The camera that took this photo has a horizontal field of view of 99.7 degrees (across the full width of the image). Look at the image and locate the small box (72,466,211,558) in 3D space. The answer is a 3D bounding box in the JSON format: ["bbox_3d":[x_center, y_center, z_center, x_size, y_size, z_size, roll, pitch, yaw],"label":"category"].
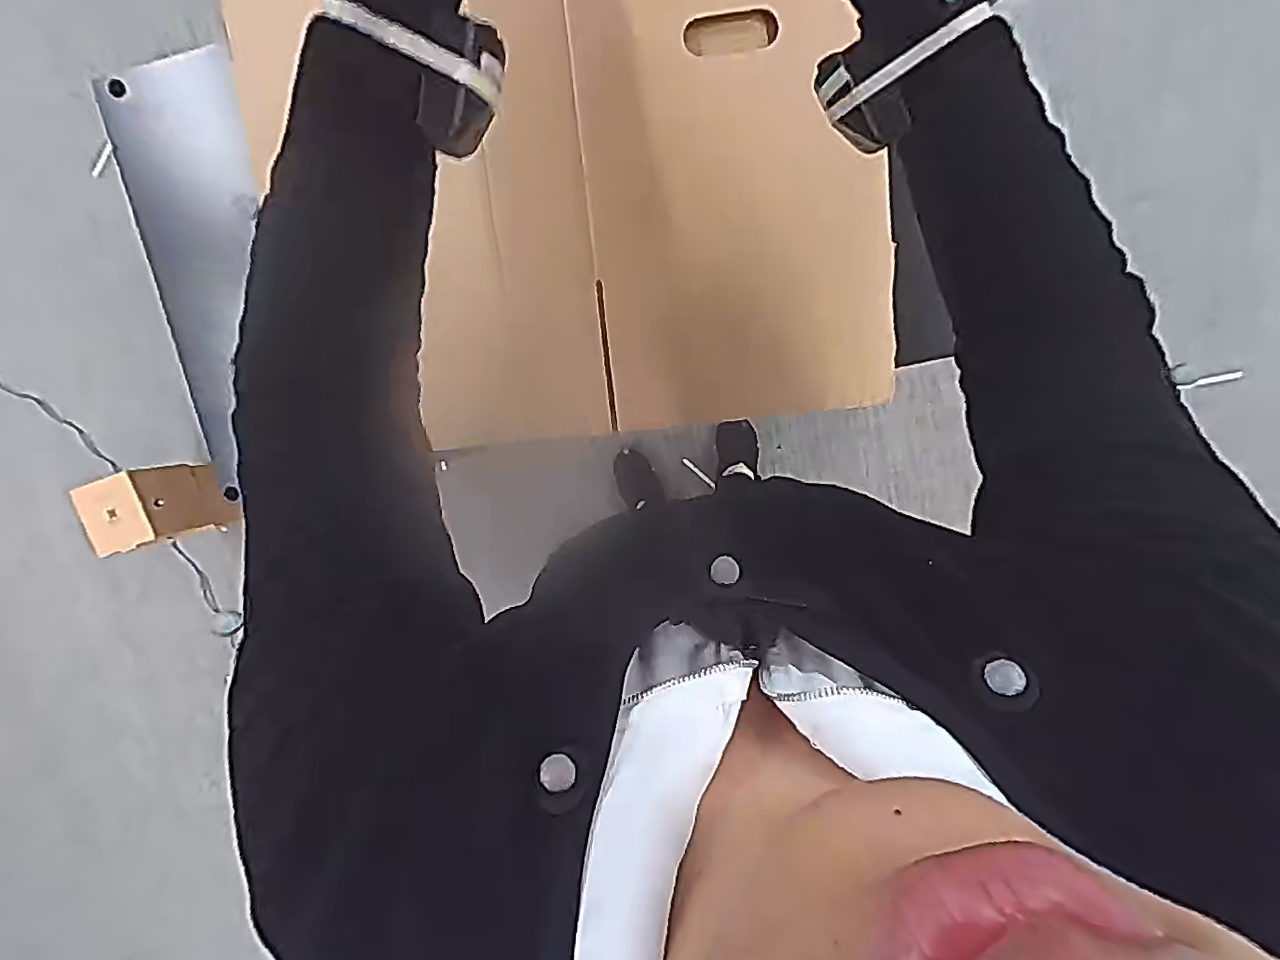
[{"bbox_3d":[-1.246,0.074,1.366,0.168,0.176,0.179,-18,95,6],"label":"small box"}]

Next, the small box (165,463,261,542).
[{"bbox_3d":[-1.229,0.056,1.527,0.168,0.176,0.179,-15,98,7],"label":"small box"}]
